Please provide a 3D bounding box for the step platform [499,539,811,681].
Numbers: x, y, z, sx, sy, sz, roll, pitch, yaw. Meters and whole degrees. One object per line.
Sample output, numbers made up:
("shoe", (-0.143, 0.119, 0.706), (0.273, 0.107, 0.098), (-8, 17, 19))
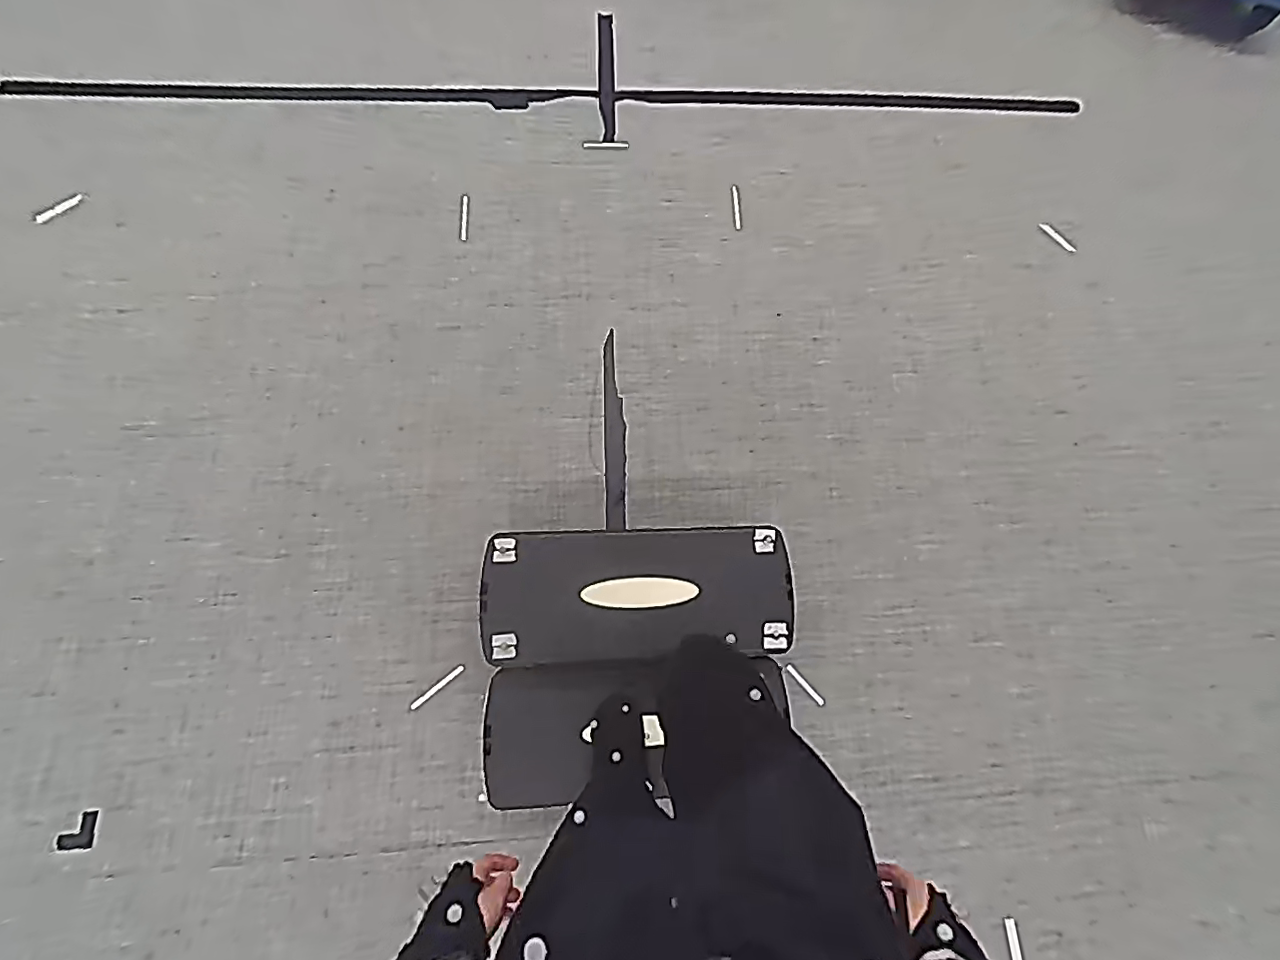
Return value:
("step platform", (0.032, 0.294, 1.223), (0.684, 0.204, 0.286), (3, 74, -4))
